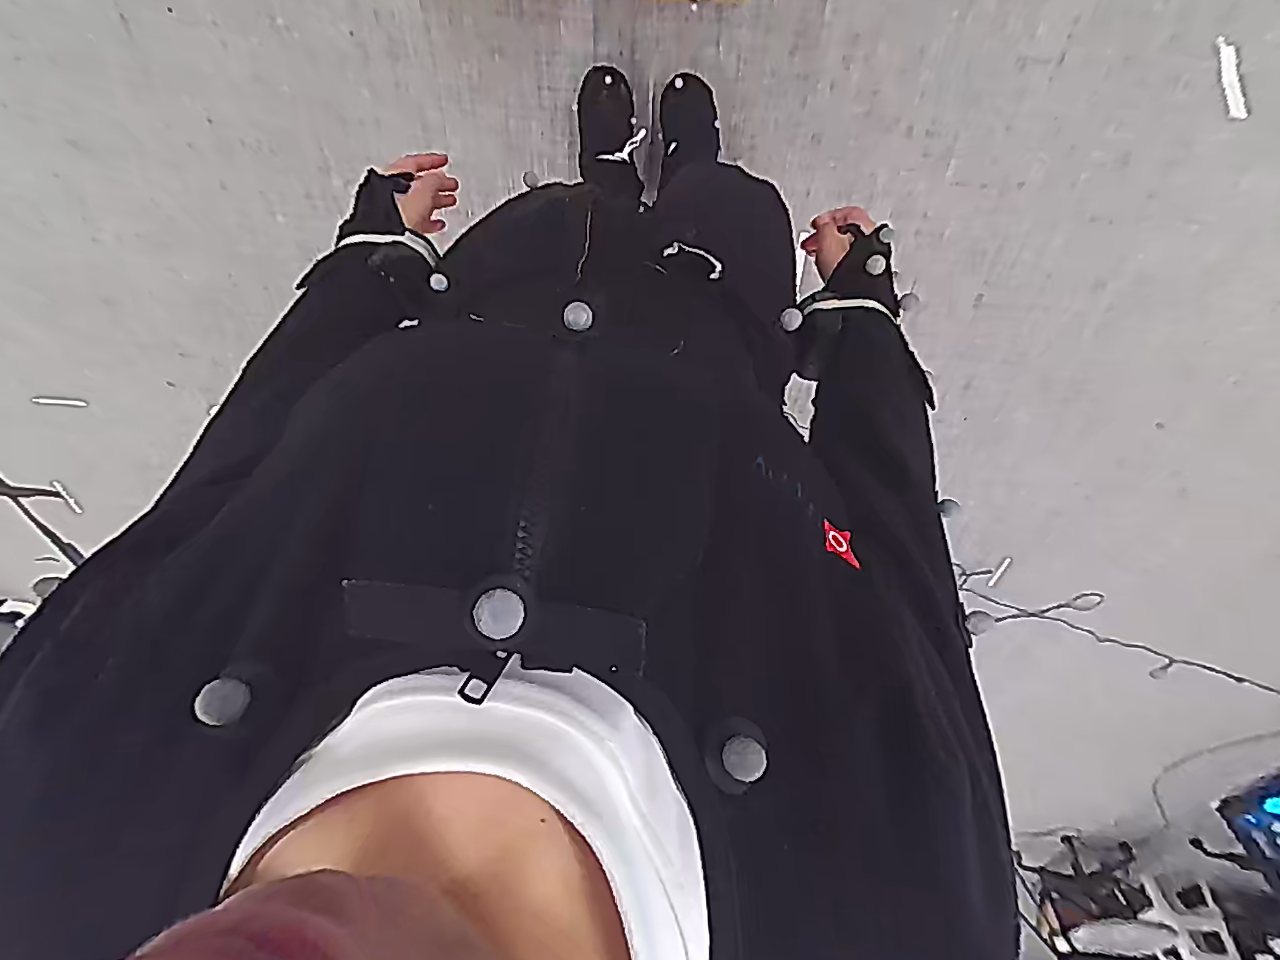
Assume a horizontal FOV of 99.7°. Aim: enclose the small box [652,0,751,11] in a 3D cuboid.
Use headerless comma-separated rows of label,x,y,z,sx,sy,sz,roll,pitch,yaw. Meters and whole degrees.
small box,0.096,-0.848,0.834,0.168,0.176,0.179,4,130,1
